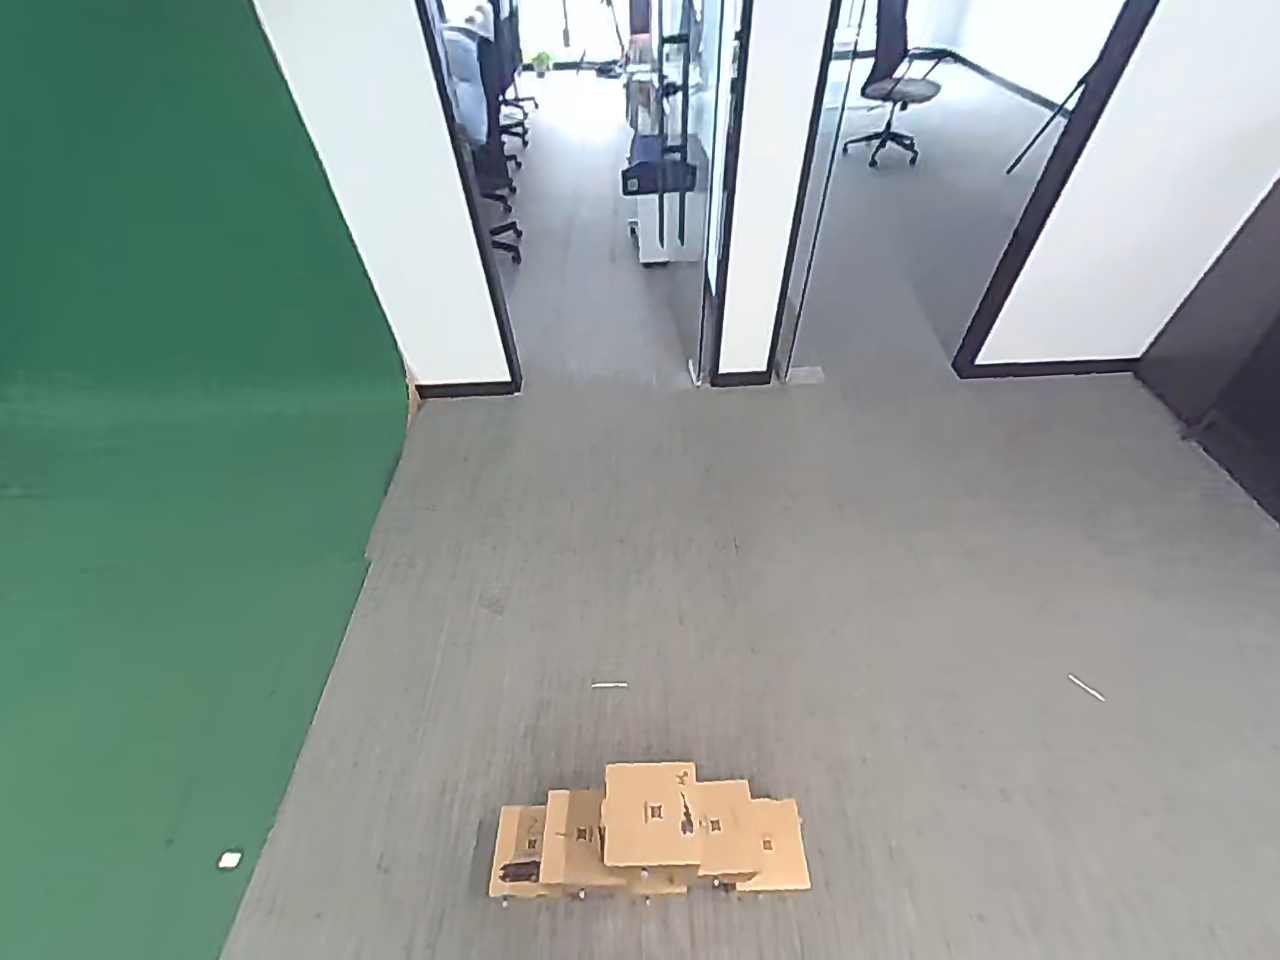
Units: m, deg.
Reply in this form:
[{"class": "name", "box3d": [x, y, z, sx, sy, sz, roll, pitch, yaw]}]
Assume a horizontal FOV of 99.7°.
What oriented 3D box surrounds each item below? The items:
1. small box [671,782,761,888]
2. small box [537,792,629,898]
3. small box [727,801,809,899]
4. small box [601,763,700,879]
[{"class": "small box", "box3d": [0.149, 0.768, 1.168, 0.179, 0.176, 0.168, -2, 48, -2]}, {"class": "small box", "box3d": [-0.110, 0.783, 1.159, 0.179, 0.176, 0.168, -1, 47, 2]}, {"class": "small box", "box3d": [0.288, 0.880, 1.284, 0.168, 0.176, 0.179, -2, 47, 0]}, {"class": "small box", "box3d": [0.021, 0.661, 1.046, 0.179, 0.176, 0.168, -2, 48, 0]}]
